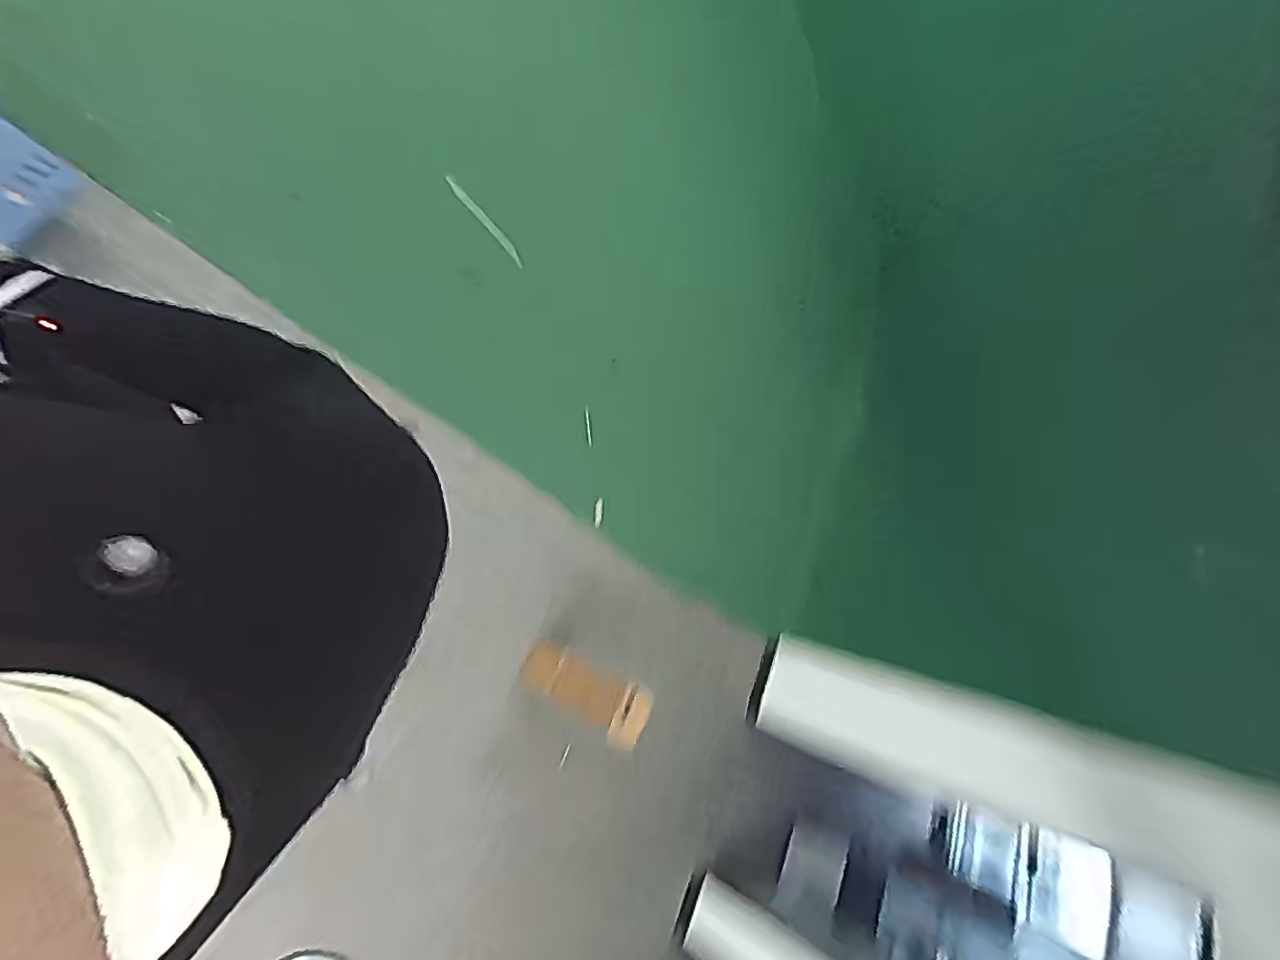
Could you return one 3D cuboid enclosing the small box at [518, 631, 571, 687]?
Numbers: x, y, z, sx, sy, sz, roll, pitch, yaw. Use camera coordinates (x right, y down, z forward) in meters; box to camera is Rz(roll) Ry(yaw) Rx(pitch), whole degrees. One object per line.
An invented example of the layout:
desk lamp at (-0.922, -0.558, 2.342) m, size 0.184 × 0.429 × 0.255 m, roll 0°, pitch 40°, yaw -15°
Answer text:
small box at (-0.344, 0.707, 2.109) m, size 0.179 × 0.176 × 0.168 m, roll 47°, pitch 63°, yaw -42°
